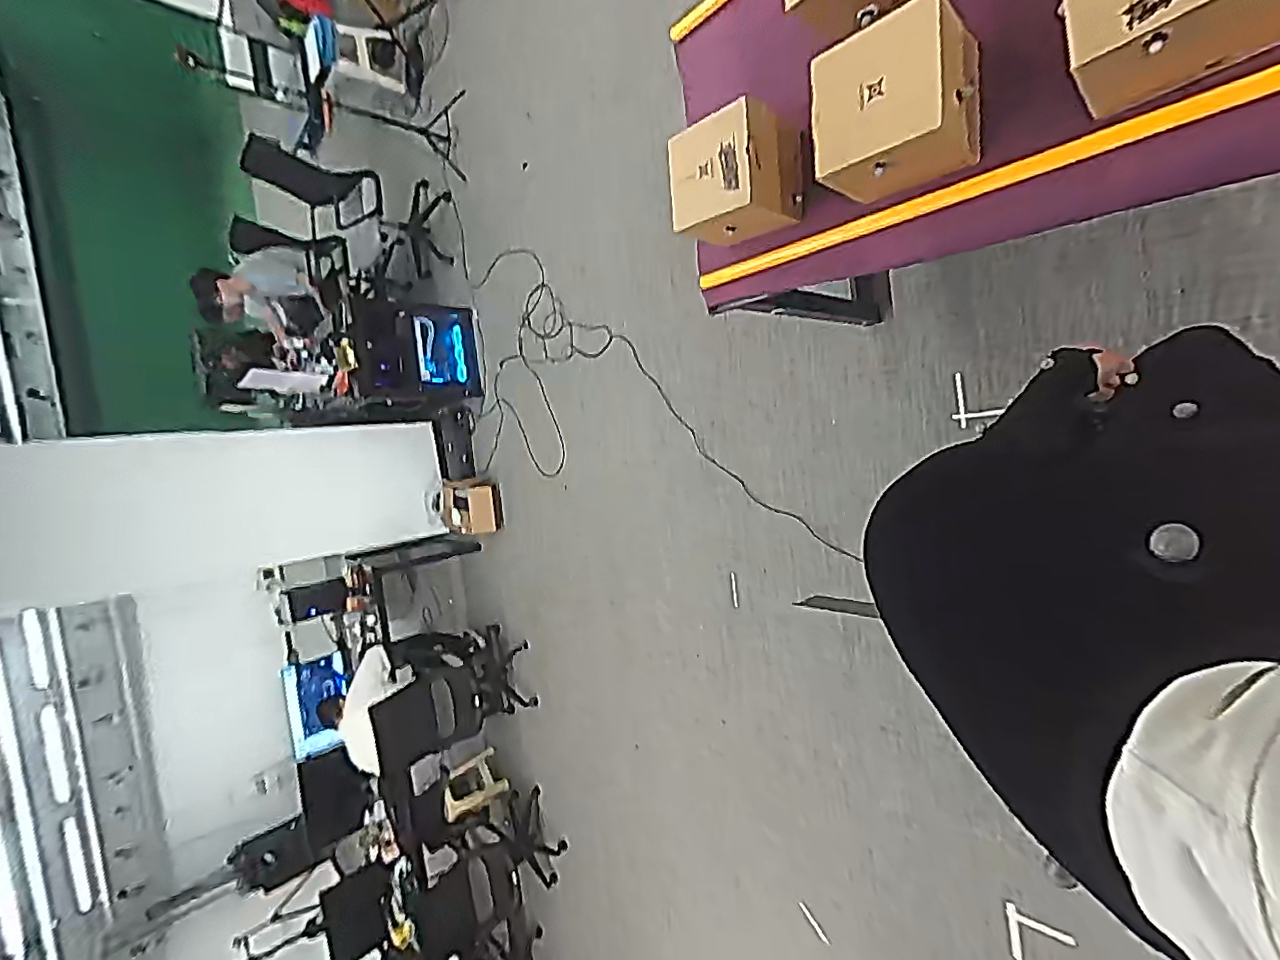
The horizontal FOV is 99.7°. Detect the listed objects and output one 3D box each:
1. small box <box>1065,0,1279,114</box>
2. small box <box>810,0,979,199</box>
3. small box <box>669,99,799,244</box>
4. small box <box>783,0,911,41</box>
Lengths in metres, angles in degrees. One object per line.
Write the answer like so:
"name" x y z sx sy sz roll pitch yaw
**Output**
"small box" 0.561 -0.536 0.565 0.168 0.176 0.179 -5 92 48
"small box" 0.369 -0.532 0.777 0.179 0.176 0.168 2 99 48
"small box" 0.175 -0.544 0.983 0.179 0.176 0.168 5 101 47
"small box" 0.314 -0.796 0.784 0.168 0.176 0.179 -5 95 49
